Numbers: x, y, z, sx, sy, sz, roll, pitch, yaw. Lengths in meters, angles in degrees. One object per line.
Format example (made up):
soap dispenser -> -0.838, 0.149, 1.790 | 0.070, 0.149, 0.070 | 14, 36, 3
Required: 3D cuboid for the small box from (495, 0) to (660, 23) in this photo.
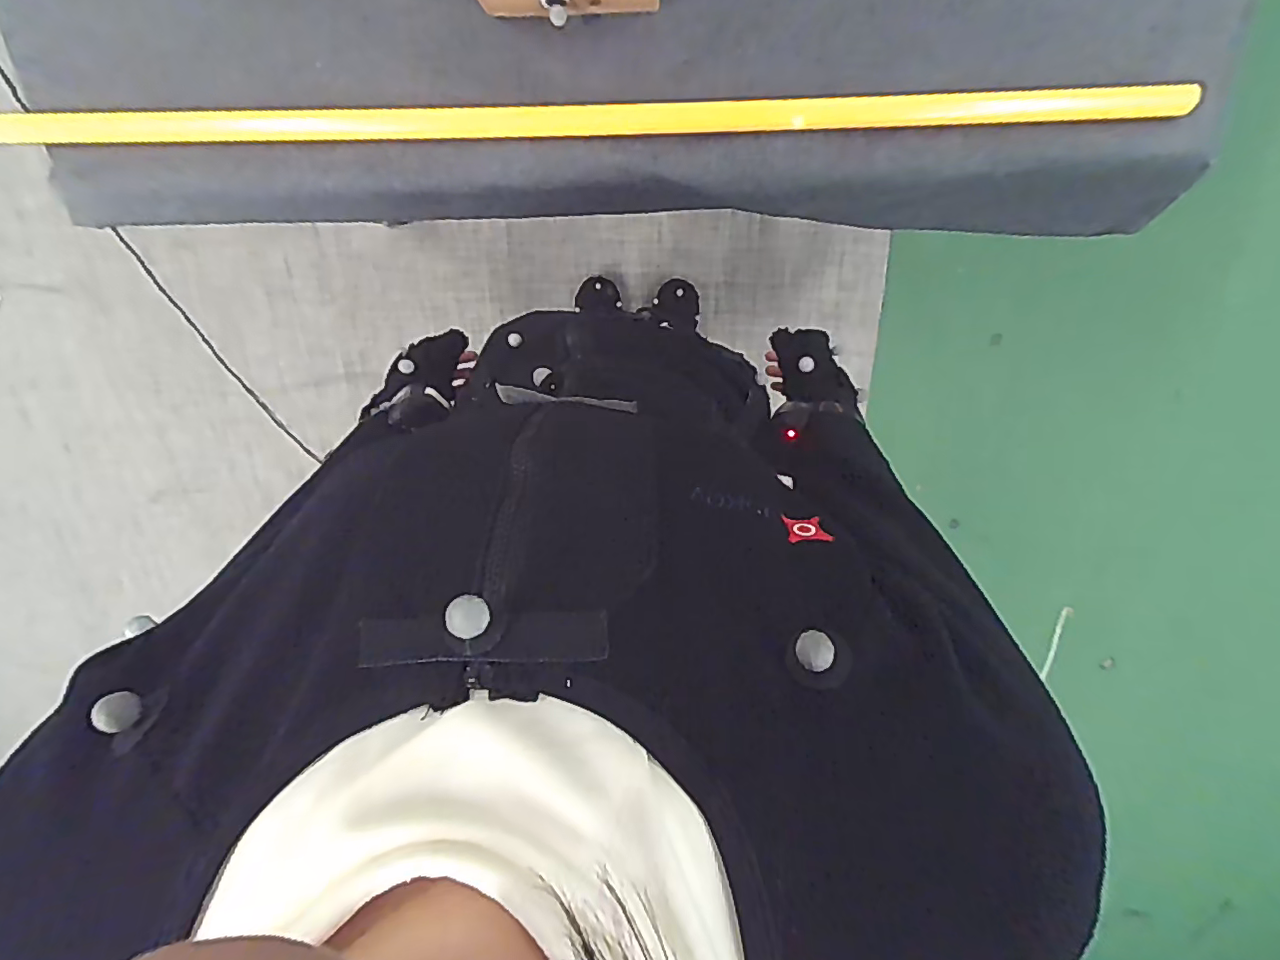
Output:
small box -> -0.066, -0.503, 0.423 | 0.168, 0.176, 0.179 | -1, 112, 4
